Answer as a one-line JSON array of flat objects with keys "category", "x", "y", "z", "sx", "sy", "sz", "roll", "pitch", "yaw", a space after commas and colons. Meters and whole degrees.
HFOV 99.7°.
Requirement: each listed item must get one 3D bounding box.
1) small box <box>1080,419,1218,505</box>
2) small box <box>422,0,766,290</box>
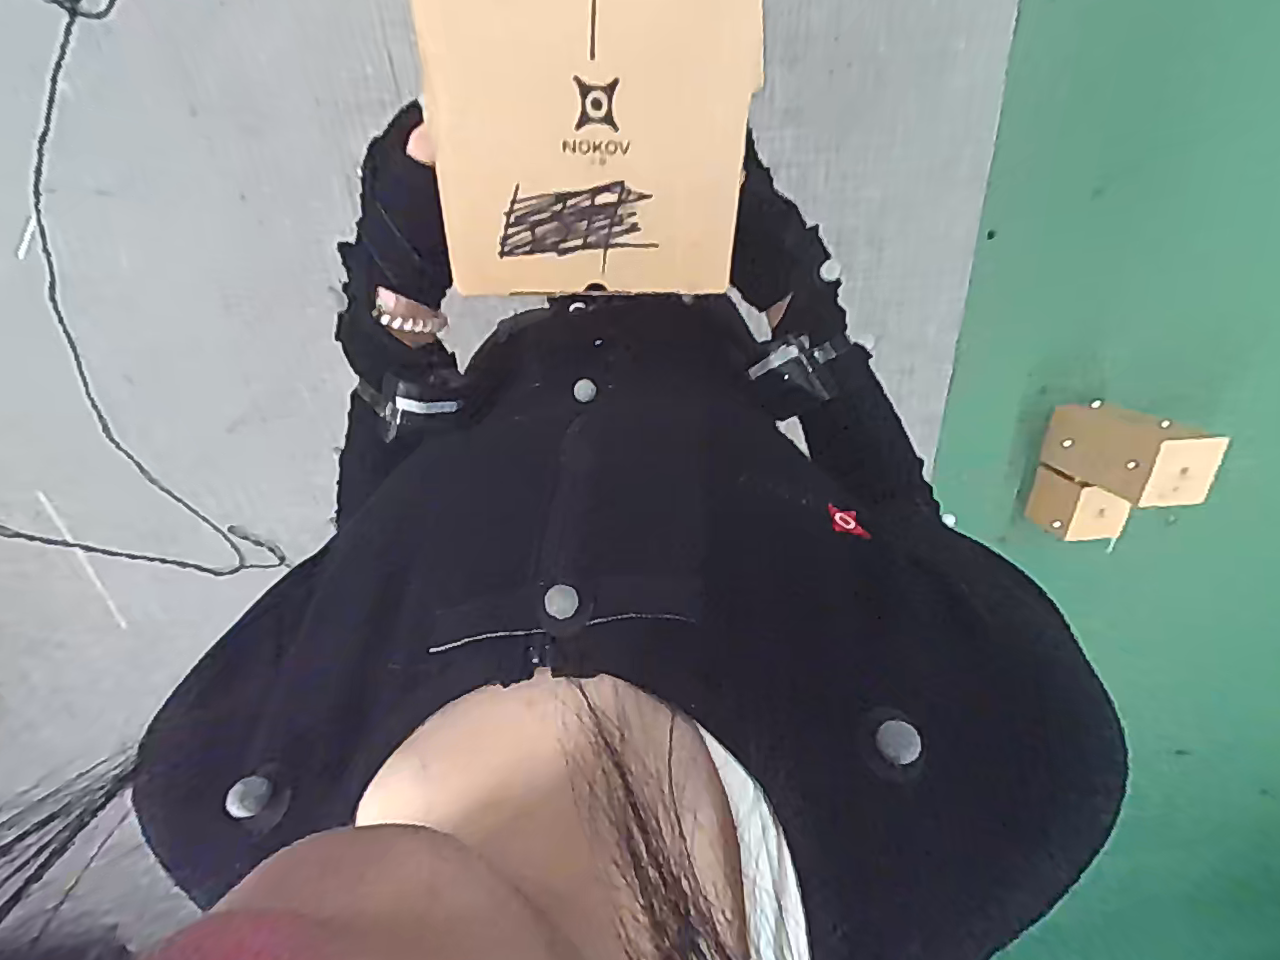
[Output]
[{"category": "small box", "x": 1.276, "y": -0.053, "z": 1.373, "sx": 0.168, "sy": 0.176, "sz": 0.179, "roll": -3, "pitch": 115, "yaw": -2}, {"category": "small box", "x": -0.033, "y": -0.234, "z": 0.347, "sx": 0.168, "sy": 0.176, "sz": 0.179, "roll": -3, "pitch": 125, "yaw": -9}]
